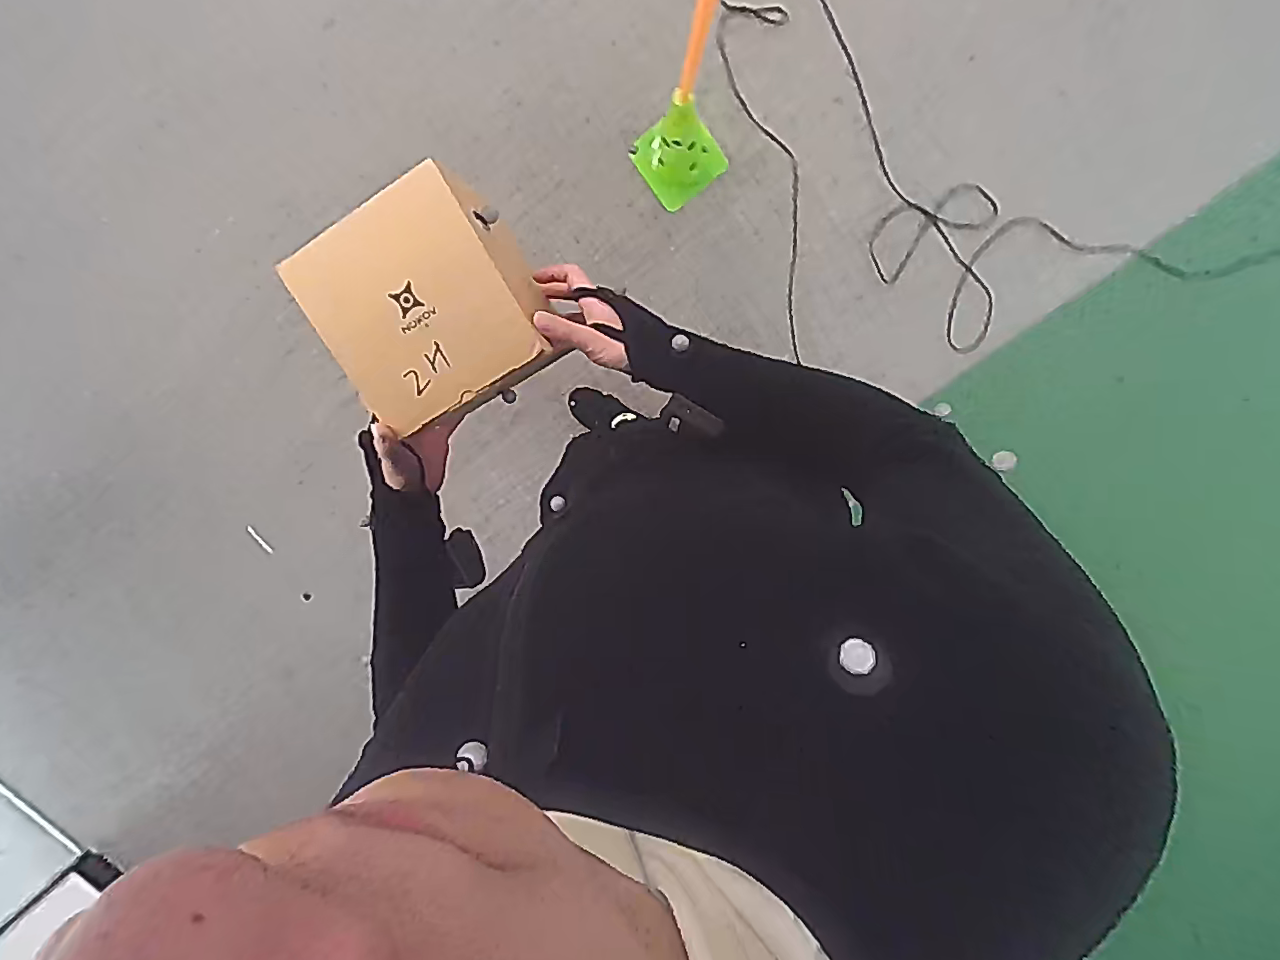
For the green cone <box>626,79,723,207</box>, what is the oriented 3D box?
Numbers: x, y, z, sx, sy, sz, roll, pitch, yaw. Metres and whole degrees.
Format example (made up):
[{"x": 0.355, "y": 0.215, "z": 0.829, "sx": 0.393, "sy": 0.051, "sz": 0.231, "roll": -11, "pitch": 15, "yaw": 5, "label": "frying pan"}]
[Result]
[{"x": 0.089, "y": -0.821, "z": 1.262, "sx": 0.202, "sy": 0.368, "sz": 0.200, "roll": -37, "pitch": 101, "yaw": 8, "label": "green cone"}]

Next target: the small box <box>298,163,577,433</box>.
[{"x": -0.181, "y": -0.170, "z": 0.544, "sx": 0.168, "sy": 0.176, "sz": 0.179, "roll": -26, "pitch": 103, "yaw": 9, "label": "small box"}]
